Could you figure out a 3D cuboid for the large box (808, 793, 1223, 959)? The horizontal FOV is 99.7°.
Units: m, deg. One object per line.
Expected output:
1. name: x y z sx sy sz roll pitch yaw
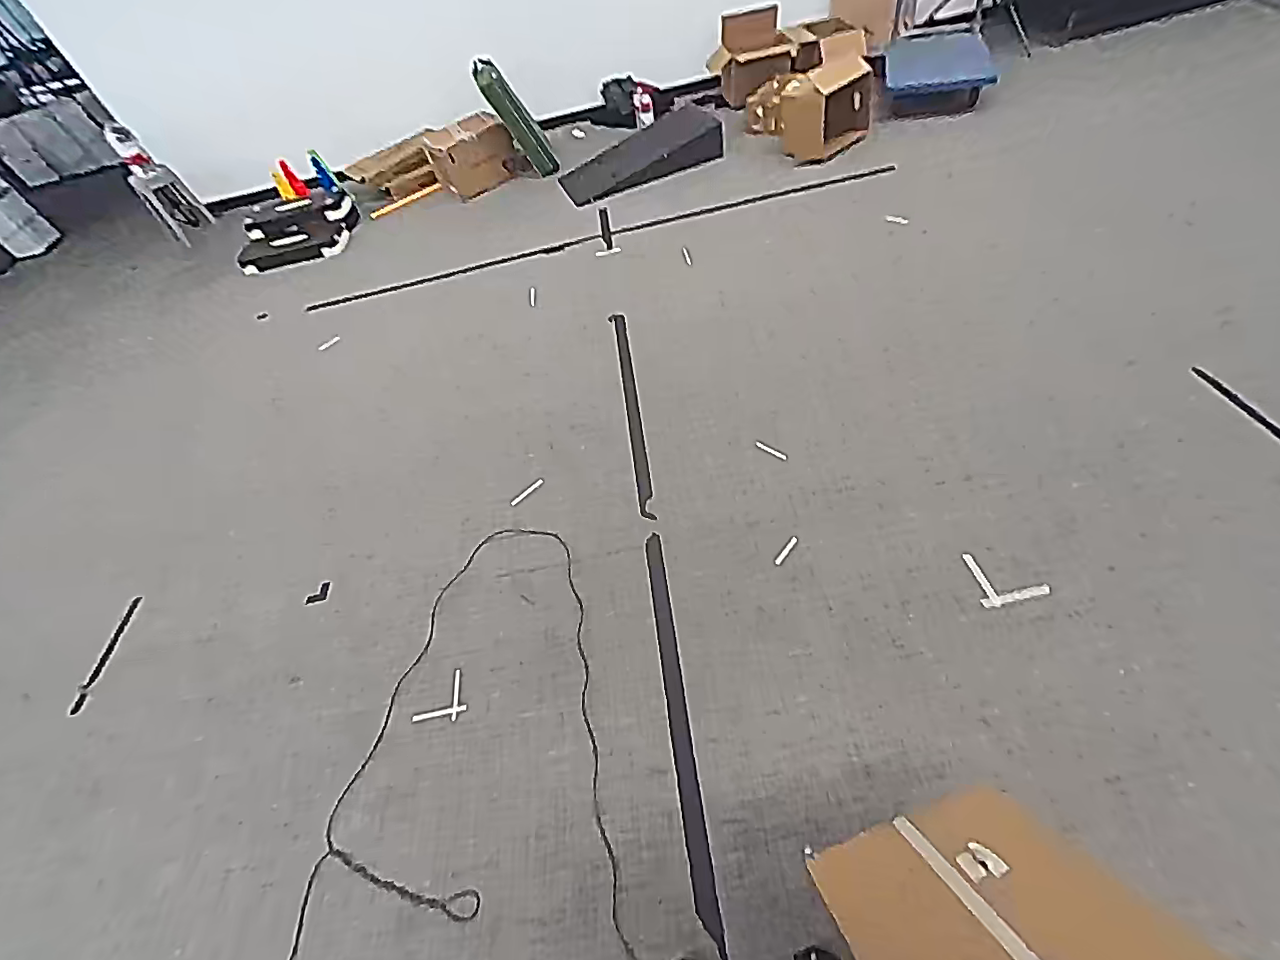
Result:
1. large box: 0.460 0.662 0.628 0.320 0.408 0.320 -19 86 -4
